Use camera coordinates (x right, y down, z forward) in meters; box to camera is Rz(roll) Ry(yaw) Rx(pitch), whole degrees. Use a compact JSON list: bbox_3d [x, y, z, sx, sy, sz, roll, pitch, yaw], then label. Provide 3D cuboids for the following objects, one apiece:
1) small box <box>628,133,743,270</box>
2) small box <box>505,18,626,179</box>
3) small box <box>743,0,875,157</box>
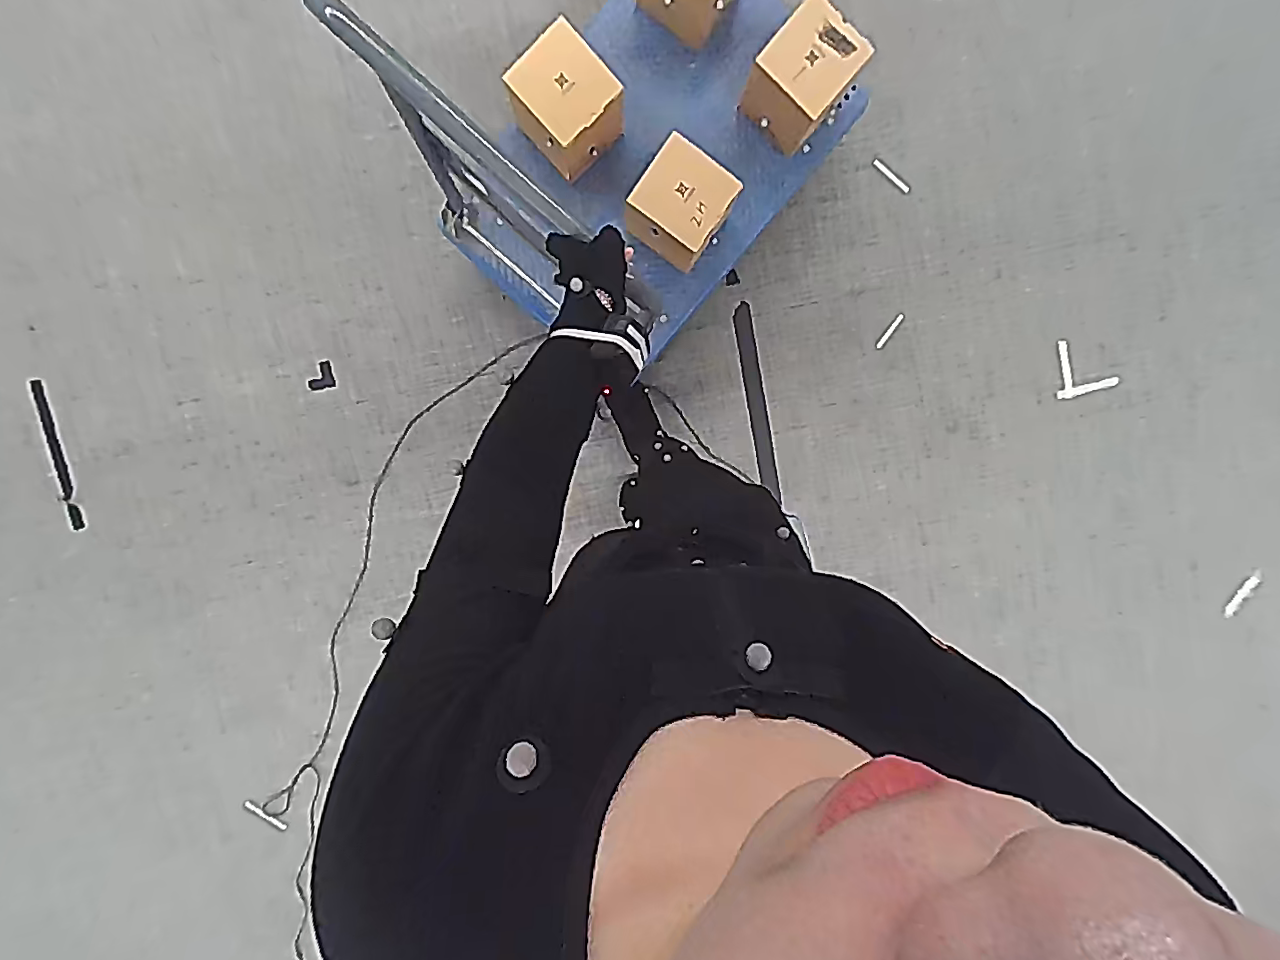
[{"bbox_3d":[0.088,-0.577,1.151,0.179,0.176,0.168,36,95,-5],"label":"small box"},{"bbox_3d":[-0.148,-0.773,1.119,0.168,0.176,0.179,-44,98,3],"label":"small box"},{"bbox_3d":[0.340,-0.831,1.129,0.168,0.176,0.179,42,95,-6],"label":"small box"}]
